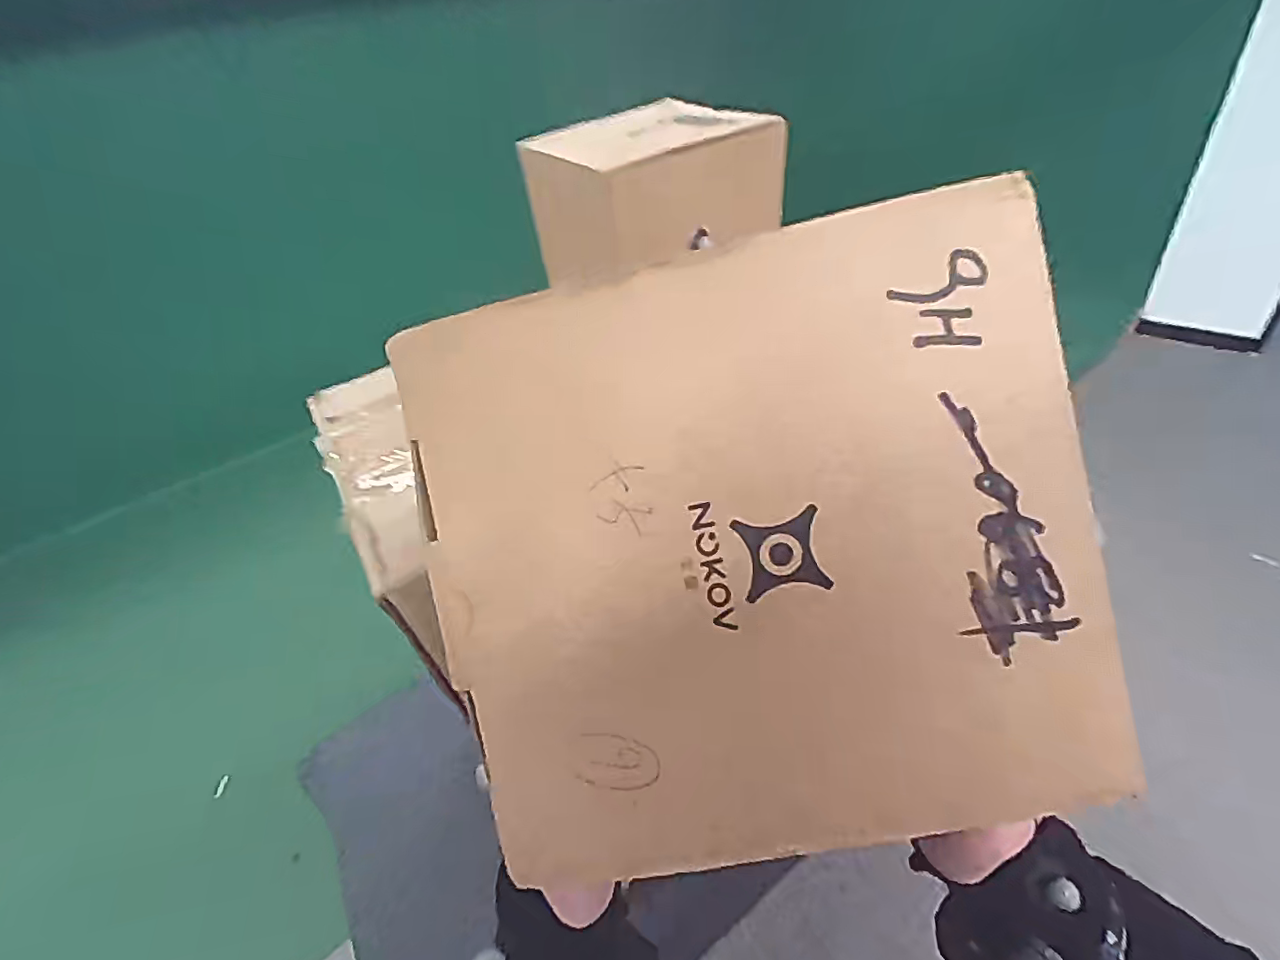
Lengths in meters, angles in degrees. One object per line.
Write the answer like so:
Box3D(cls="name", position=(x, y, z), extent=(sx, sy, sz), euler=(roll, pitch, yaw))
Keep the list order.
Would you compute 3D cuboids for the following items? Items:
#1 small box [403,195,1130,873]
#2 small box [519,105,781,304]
Box3D(cls="small box", position=(0.039, 0.019, 0.229), extent=(0.179, 0.168, 0.176), euler=(-12, 3, 7))
Box3D(cls="small box", position=(0.011, -0.238, 0.523), extent=(0.179, 0.176, 0.168), euler=(-28, 46, -19))
